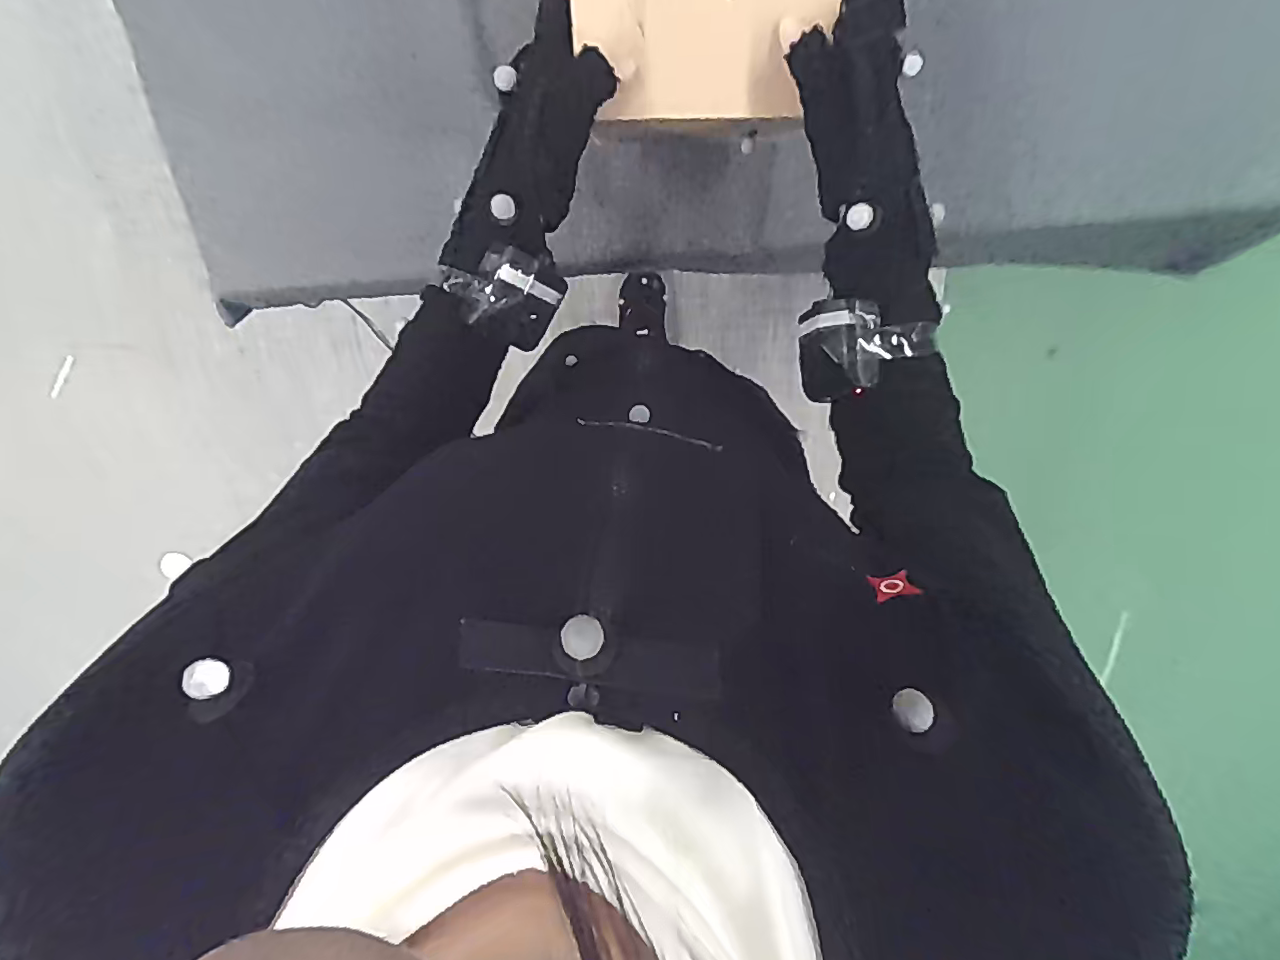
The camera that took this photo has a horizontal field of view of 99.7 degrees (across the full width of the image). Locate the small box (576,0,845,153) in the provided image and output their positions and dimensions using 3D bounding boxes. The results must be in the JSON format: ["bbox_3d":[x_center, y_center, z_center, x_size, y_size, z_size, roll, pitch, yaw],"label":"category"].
[{"bbox_3d":[0.046,-0.355,0.411,0.179,0.176,0.168,-1,115,2],"label":"small box"}]

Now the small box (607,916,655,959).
[{"bbox_3d":[-0.031,1.836,2.099,0.179,0.176,0.168,-4,111,1],"label":"small box"}]
